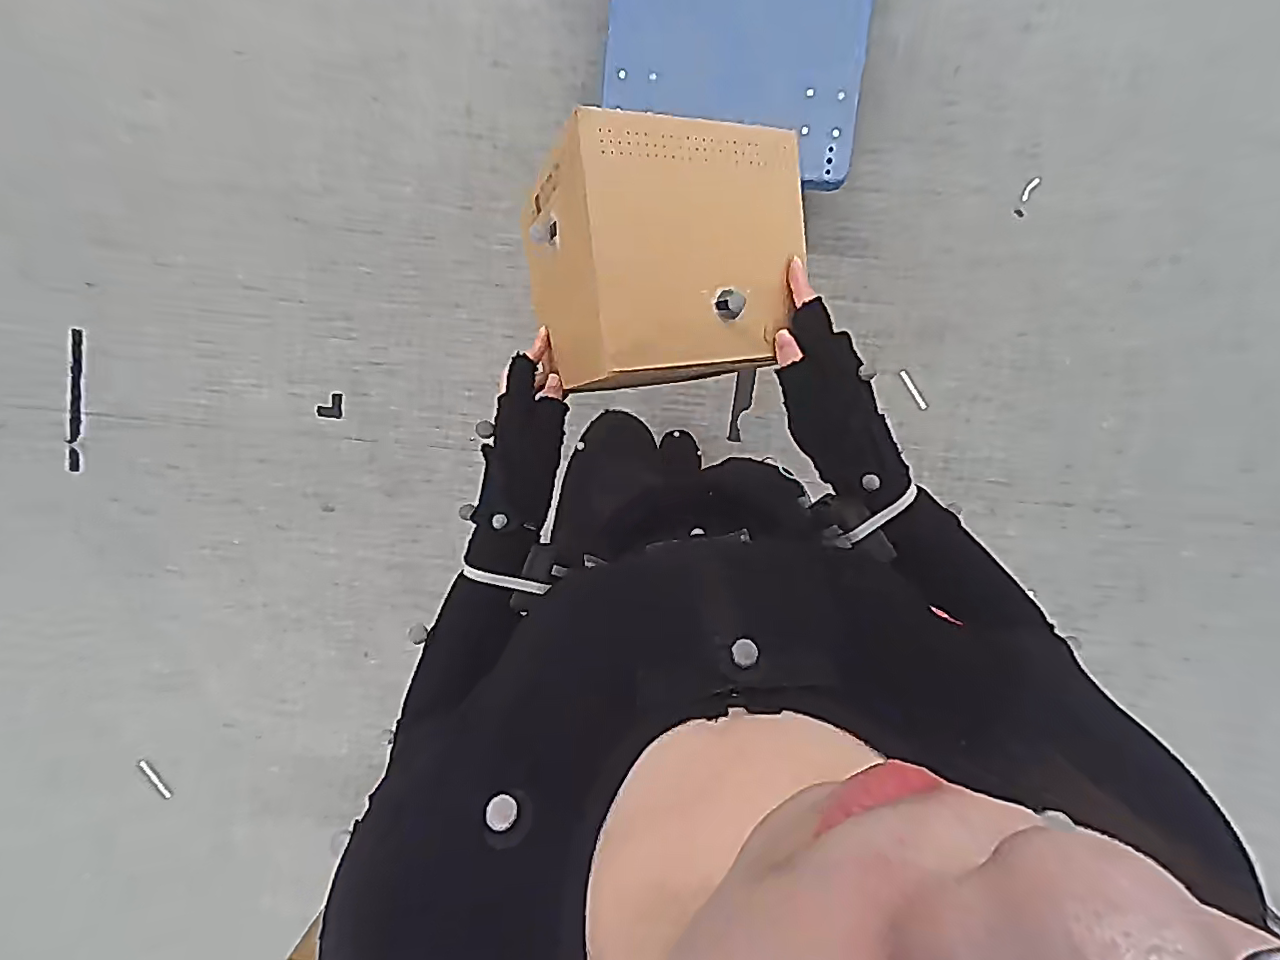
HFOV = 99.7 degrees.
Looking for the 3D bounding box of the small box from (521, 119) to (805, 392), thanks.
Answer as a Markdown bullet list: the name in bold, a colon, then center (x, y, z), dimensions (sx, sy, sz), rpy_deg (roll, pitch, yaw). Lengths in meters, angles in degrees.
- **small box**: center (0.013, -0.171, 0.454), dimensions (0.179, 0.168, 0.176), rpy_deg (-10, 98, -24)
